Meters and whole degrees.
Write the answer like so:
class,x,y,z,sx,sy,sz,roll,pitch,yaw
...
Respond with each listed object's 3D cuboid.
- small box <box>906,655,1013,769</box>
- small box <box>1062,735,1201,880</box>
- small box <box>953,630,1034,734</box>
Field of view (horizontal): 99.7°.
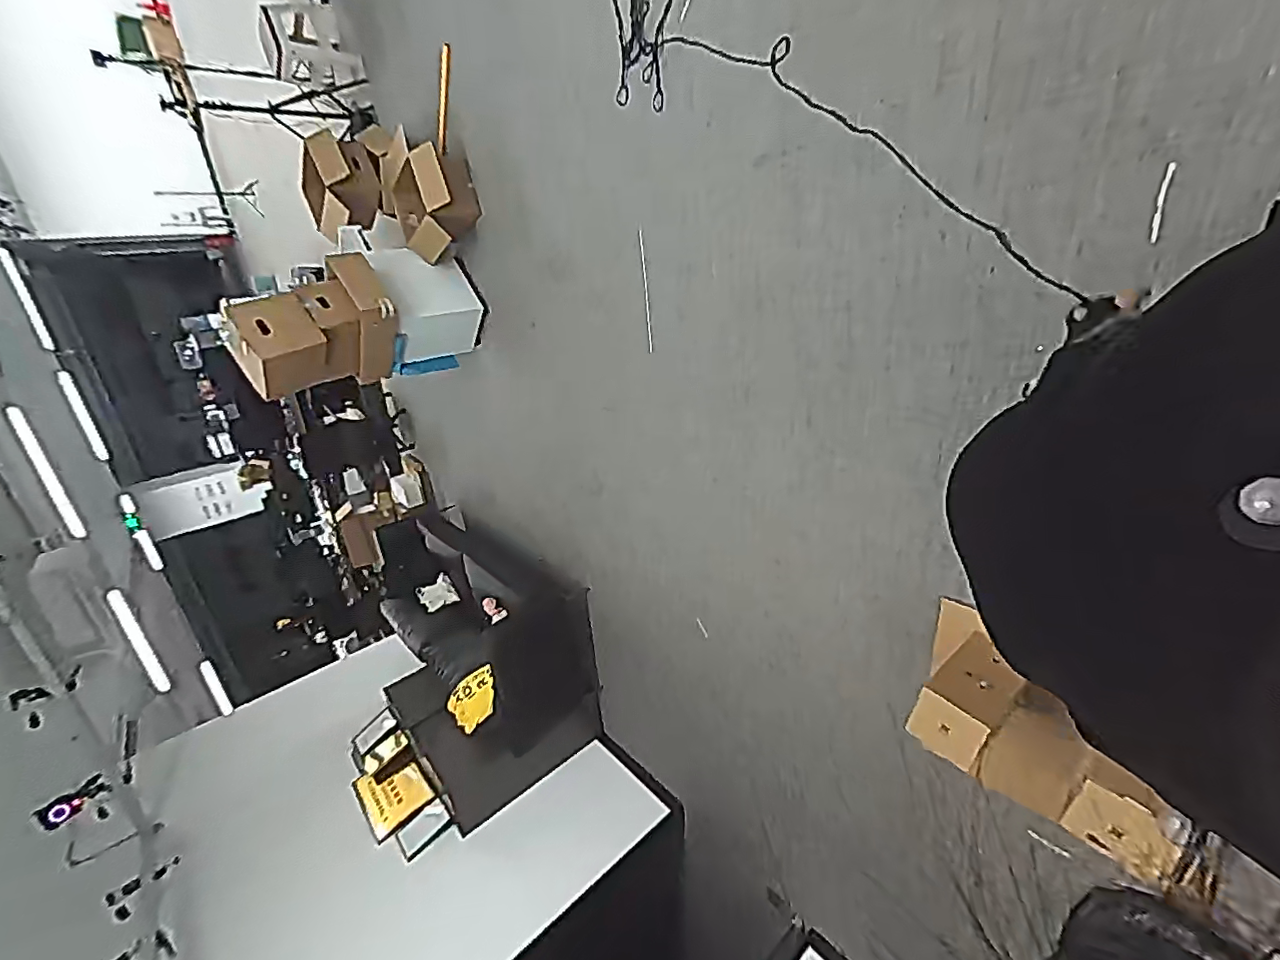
class,x,y,z,sx,sy,sz,roll,pitch,yaw
small box,0.838,0.600,1.417,0.168,0.176,0.179,31,130,40
small box,1.068,0.699,1.173,0.168,0.176,0.179,30,130,42
small box,0.965,0.555,1.510,0.168,0.176,0.179,29,130,42
